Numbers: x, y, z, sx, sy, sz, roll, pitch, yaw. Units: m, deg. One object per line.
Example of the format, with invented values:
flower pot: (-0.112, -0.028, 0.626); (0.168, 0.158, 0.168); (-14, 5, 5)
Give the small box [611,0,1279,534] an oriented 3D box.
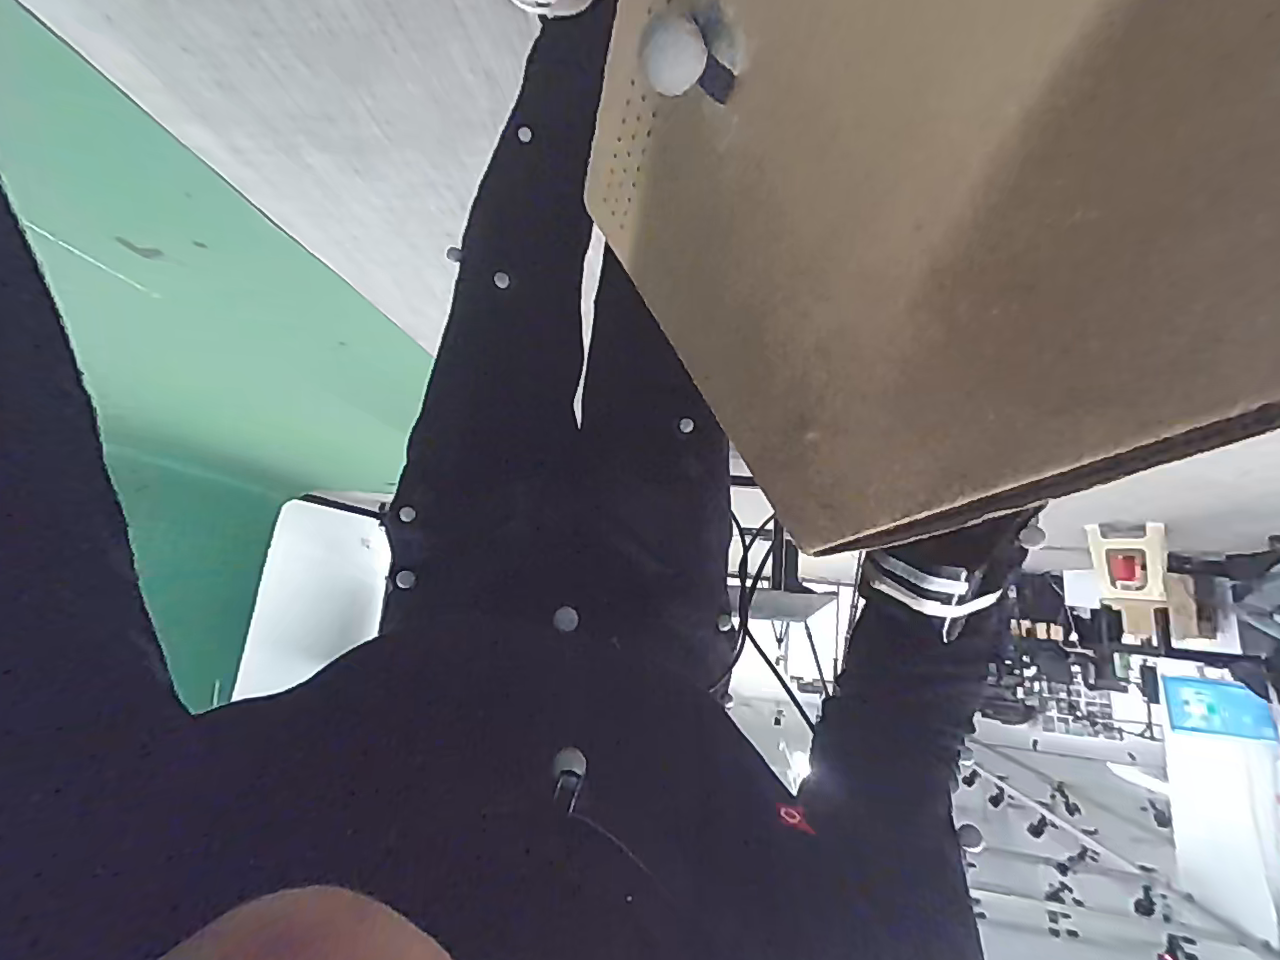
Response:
small box: (0.109, -0.107, 0.154); (0.168, 0.176, 0.179); (-27, 172, -20)
